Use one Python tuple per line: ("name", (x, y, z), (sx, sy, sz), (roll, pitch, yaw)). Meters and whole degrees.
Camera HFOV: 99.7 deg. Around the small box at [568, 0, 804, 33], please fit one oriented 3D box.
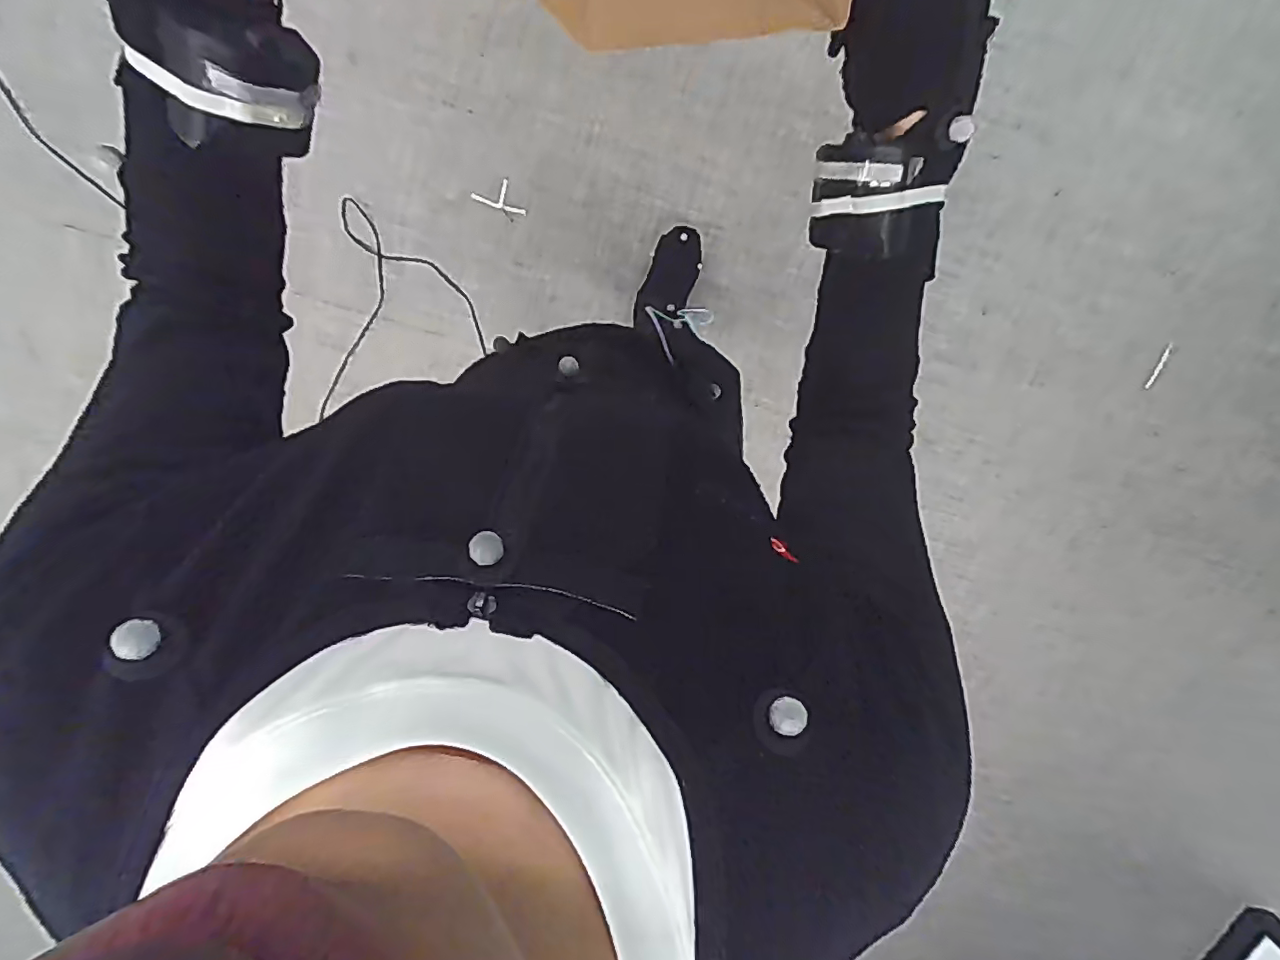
("small box", (0.020, -0.337, 0.232), (0.168, 0.179, 0.176), (12, 102, 20))
